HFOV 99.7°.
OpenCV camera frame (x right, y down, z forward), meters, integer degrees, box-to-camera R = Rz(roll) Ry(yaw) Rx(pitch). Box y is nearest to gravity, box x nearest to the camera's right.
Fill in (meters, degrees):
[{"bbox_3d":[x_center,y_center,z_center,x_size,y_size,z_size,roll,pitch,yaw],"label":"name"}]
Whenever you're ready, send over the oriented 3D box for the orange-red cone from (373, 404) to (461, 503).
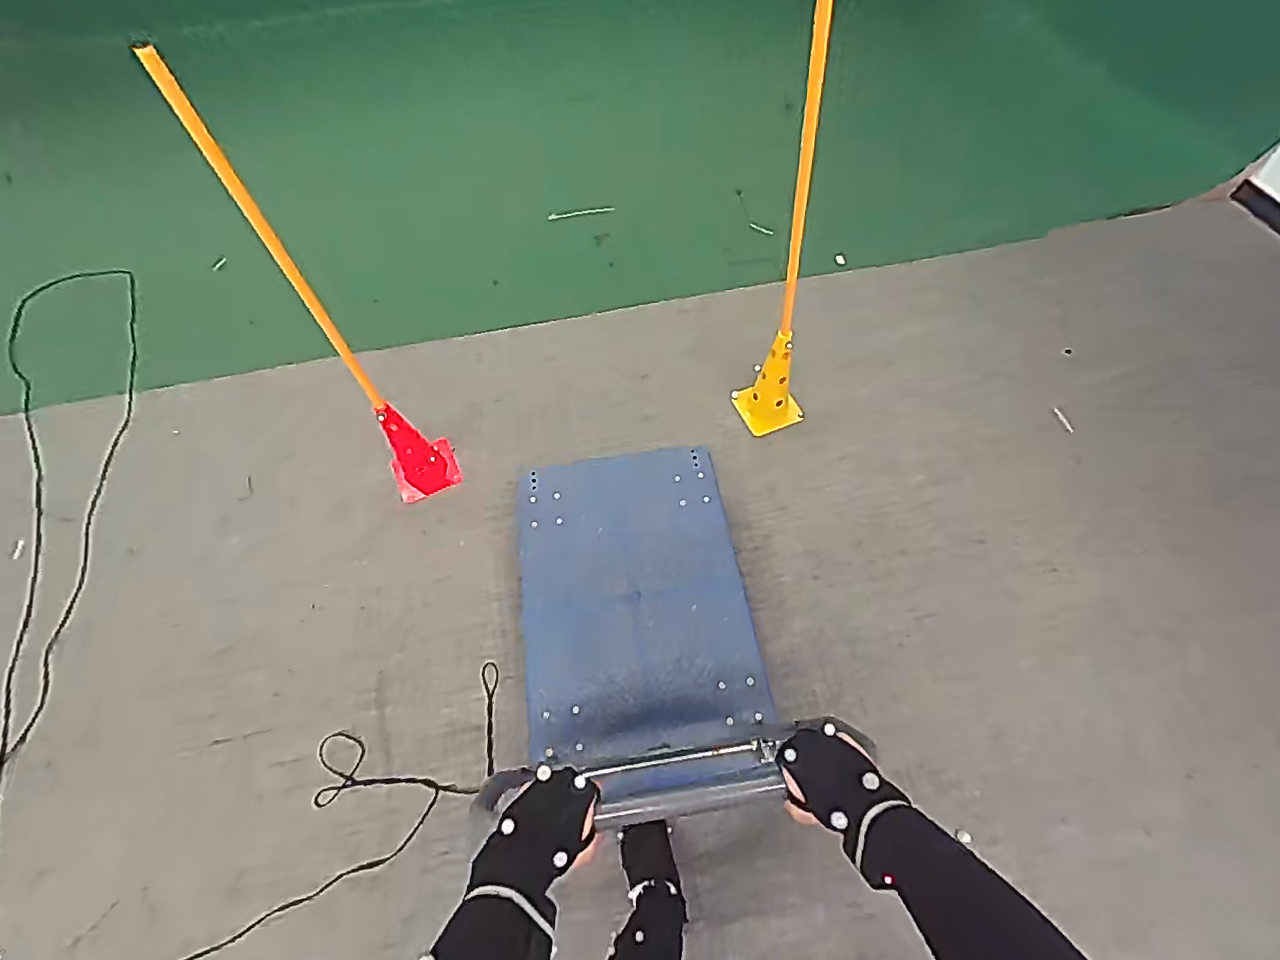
[{"bbox_3d":[-0.723,-0.111,1.663,0.199,0.360,0.198,-25,61,-10],"label":"orange-red cone"}]
